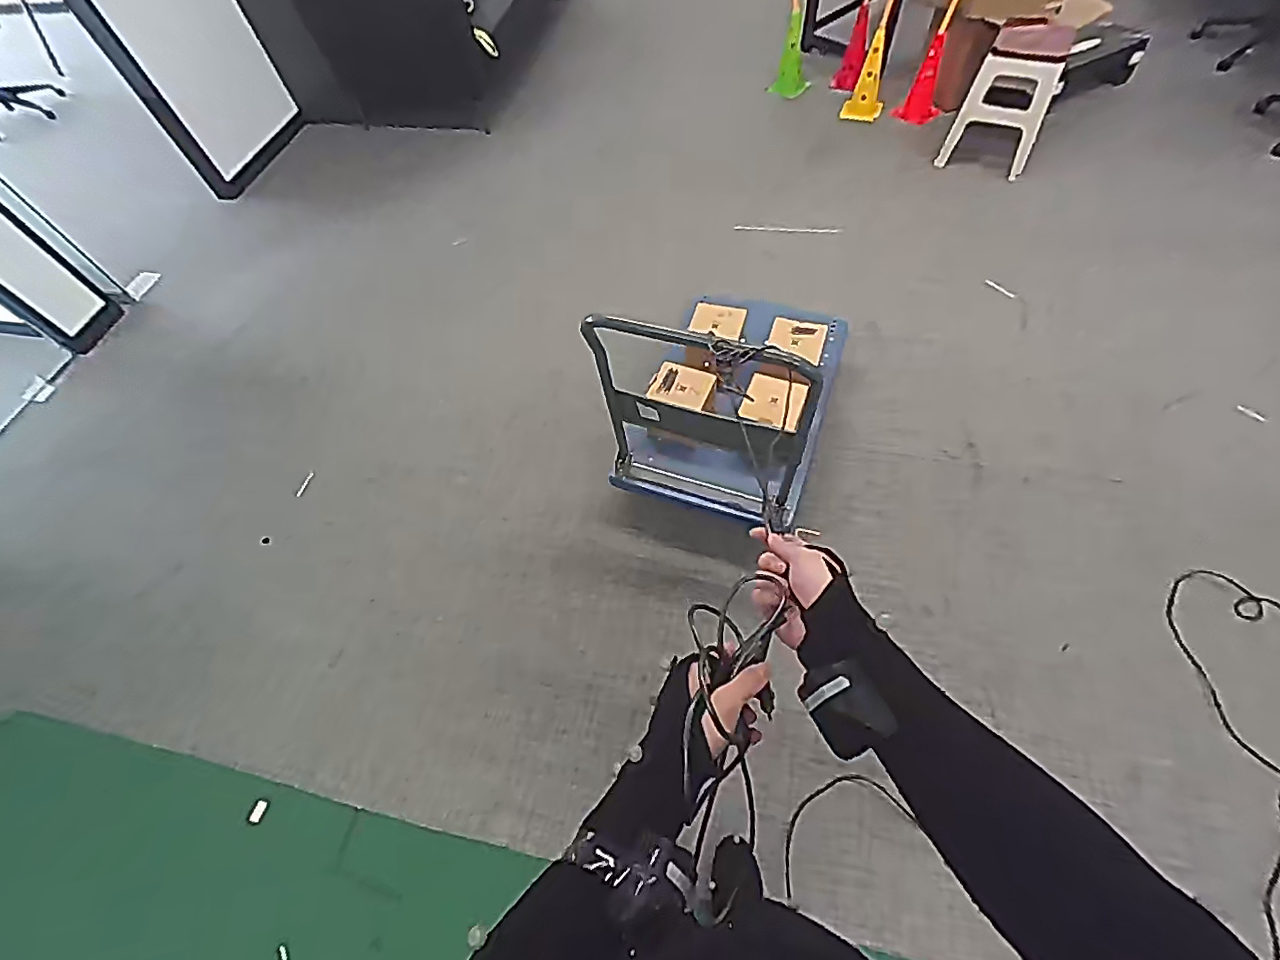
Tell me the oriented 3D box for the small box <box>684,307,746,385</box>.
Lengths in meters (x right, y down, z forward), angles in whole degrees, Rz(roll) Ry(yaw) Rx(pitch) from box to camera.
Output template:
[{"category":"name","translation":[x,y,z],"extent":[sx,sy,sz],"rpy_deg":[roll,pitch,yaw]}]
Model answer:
[{"category":"small box","translation":[0.252,-0.442,1.798],"extent":[0.168,0.176,0.179],"rpy_deg":[13,62,14]}]

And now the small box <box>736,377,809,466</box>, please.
[{"category":"small box","translation":[0.391,-0.173,1.621],"extent":[0.168,0.176,0.179],"rpy_deg":[18,64,17]}]

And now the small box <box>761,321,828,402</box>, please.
[{"category":"small box","translation":[0.488,-0.375,1.728],"extent":[0.168,0.176,0.179],"rpy_deg":[14,63,16]}]
